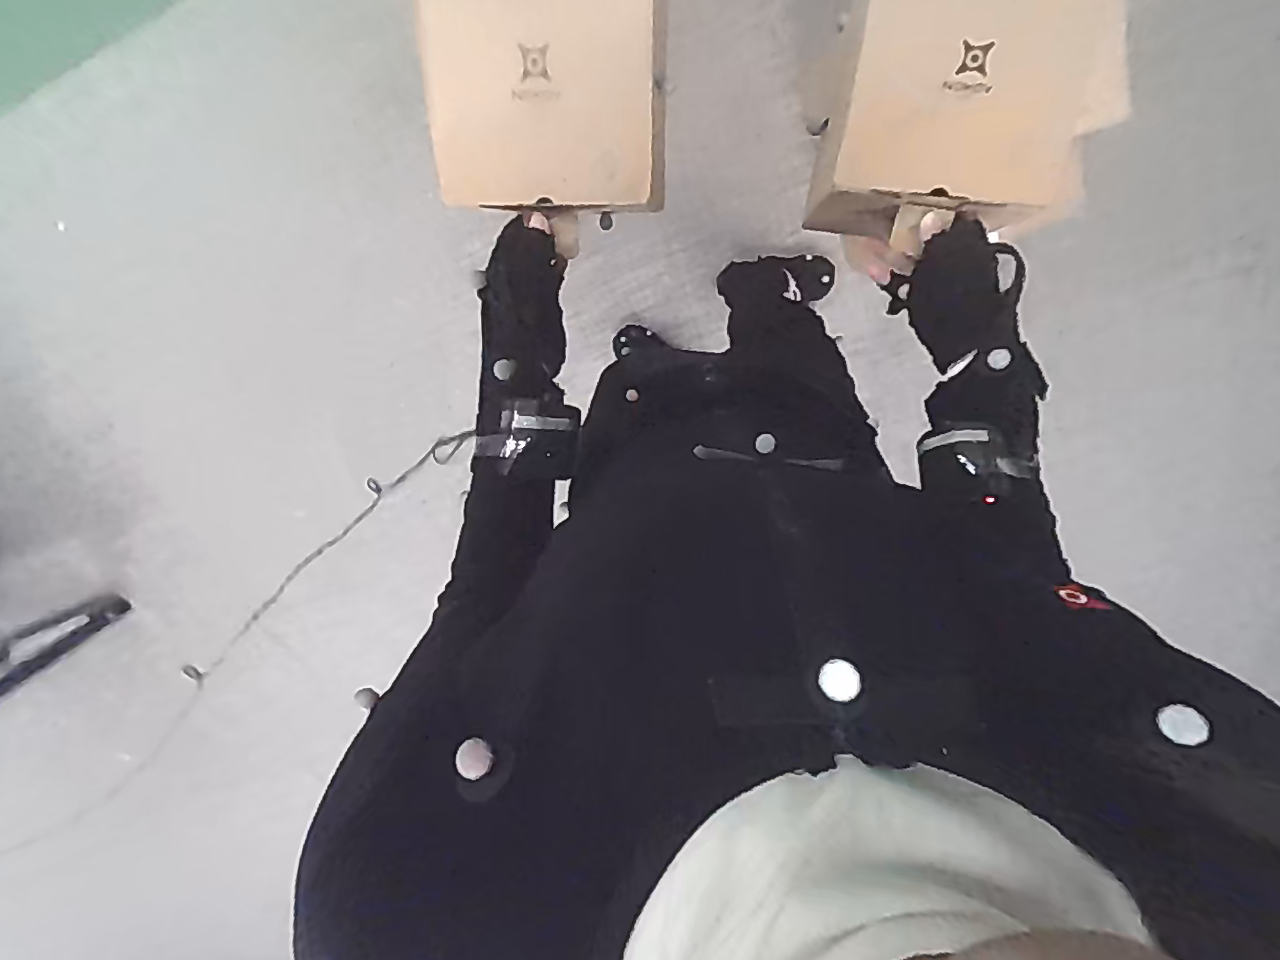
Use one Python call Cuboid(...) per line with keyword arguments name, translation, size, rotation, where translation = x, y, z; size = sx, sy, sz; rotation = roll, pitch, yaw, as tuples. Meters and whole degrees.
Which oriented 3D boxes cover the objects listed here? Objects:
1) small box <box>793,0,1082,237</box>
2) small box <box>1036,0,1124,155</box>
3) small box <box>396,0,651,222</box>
Cuboid(name="small box", translation=(0.240, -0.326, 0.484), size=(0.168, 0.176, 0.179), rotation=(8, 107, 6))
Cuboid(name="small box", translation=(0.550, -0.568, 0.783), size=(0.168, 0.176, 0.179), rotation=(-18, 112, 17))
Cuboid(name="small box", translation=(-0.079, -0.320, 0.460), size=(0.168, 0.176, 0.179), rotation=(1, 115, 5))
